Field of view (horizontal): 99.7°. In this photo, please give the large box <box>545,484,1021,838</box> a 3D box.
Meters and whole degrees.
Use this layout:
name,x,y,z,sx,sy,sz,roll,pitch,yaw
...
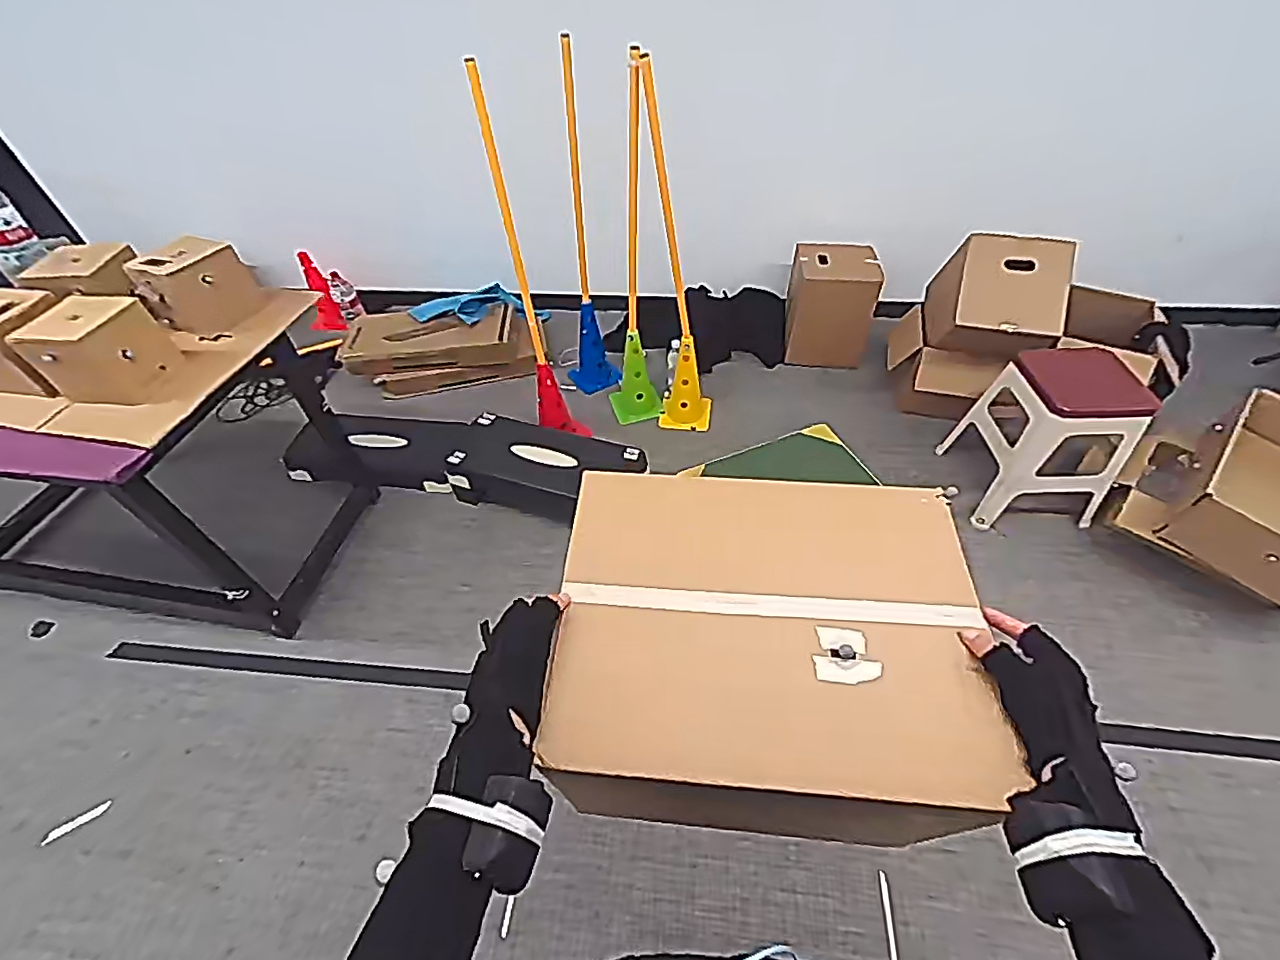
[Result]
name,x,y,z,sx,sy,sz,roll,pitch,yaw
large box,0.128,0.224,0.657,0.408,0.320,0.320,3,53,4
